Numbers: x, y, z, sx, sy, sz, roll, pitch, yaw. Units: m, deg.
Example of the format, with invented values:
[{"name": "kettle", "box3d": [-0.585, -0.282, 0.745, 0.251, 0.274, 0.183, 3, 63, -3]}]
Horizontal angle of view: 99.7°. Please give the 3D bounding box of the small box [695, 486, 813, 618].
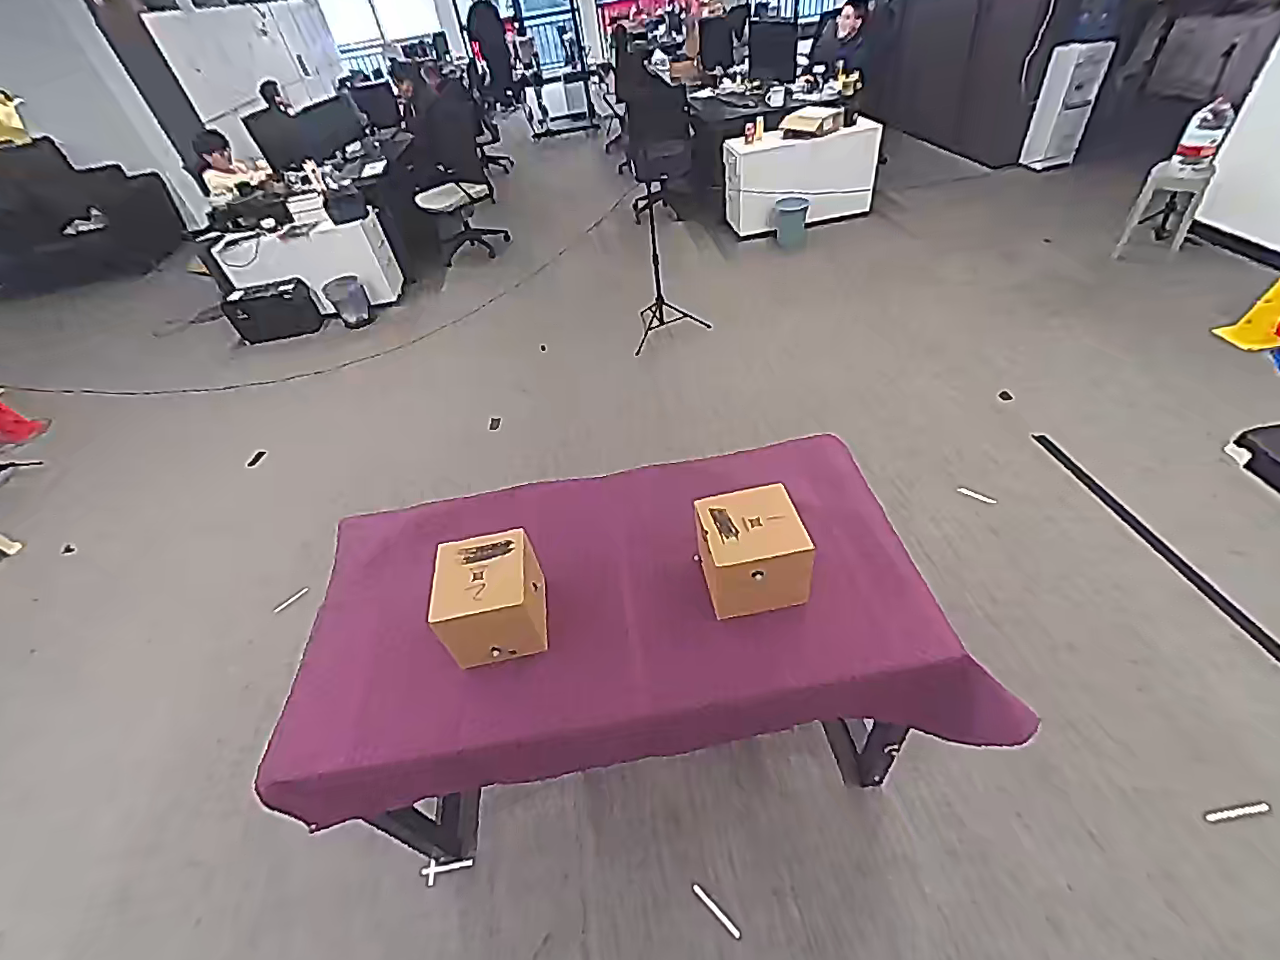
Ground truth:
[{"name": "small box", "box3d": [0.210, 0.140, 1.022, 0.179, 0.176, 0.168, -11, 43, -1]}]
